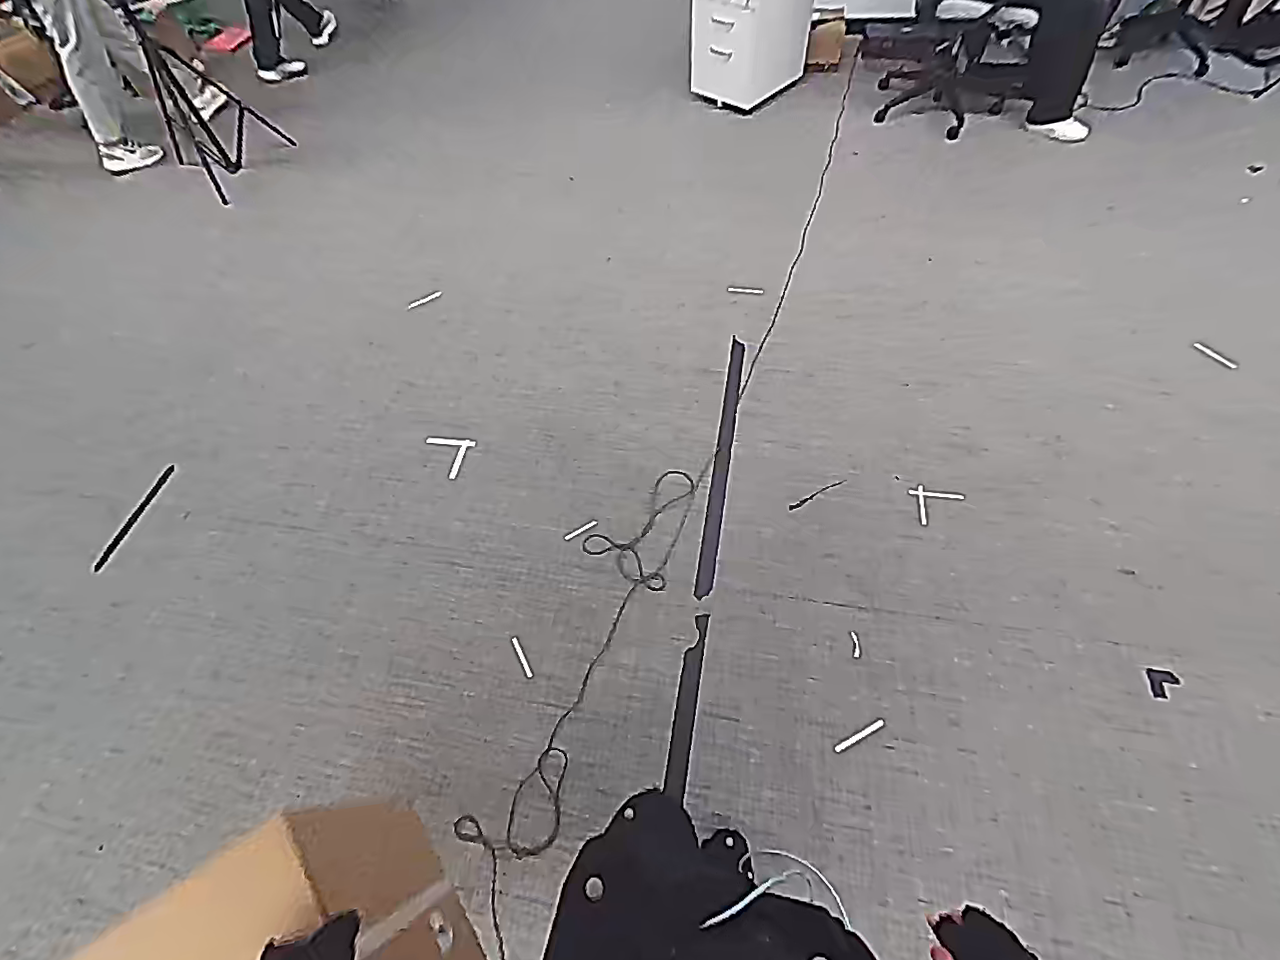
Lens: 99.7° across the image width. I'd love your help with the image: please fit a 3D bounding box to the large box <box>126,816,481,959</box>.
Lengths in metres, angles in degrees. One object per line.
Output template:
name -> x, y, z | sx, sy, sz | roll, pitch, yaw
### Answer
large box -> -0.421, 0.666, 0.652 | 0.320, 0.408, 0.320 | -34, 67, -20
